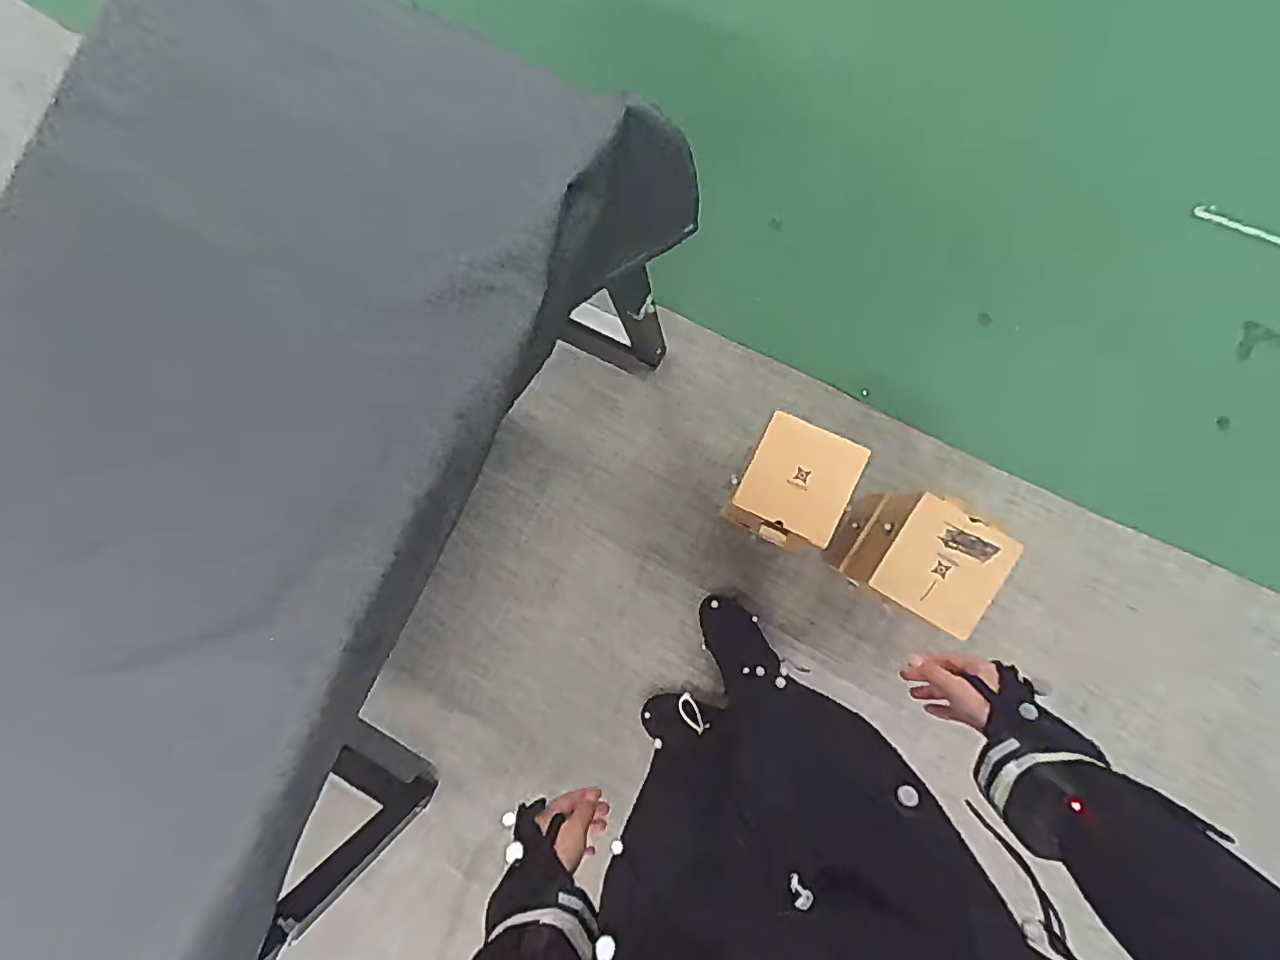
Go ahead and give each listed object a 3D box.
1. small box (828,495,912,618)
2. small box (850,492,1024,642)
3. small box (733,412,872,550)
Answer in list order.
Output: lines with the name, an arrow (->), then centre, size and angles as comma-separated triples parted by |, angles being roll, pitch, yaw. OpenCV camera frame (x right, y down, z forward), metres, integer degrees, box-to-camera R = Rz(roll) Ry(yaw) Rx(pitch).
small box -> 0.496, 0.147, 1.071 | 0.168, 0.176, 0.179 | 32, 92, 9
small box -> 0.480, 0.138, 0.908 | 0.168, 0.176, 0.179 | 32, 91, 10
small box -> 0.269, 0.006, 0.944 | 0.168, 0.176, 0.179 | 25, 89, 8
